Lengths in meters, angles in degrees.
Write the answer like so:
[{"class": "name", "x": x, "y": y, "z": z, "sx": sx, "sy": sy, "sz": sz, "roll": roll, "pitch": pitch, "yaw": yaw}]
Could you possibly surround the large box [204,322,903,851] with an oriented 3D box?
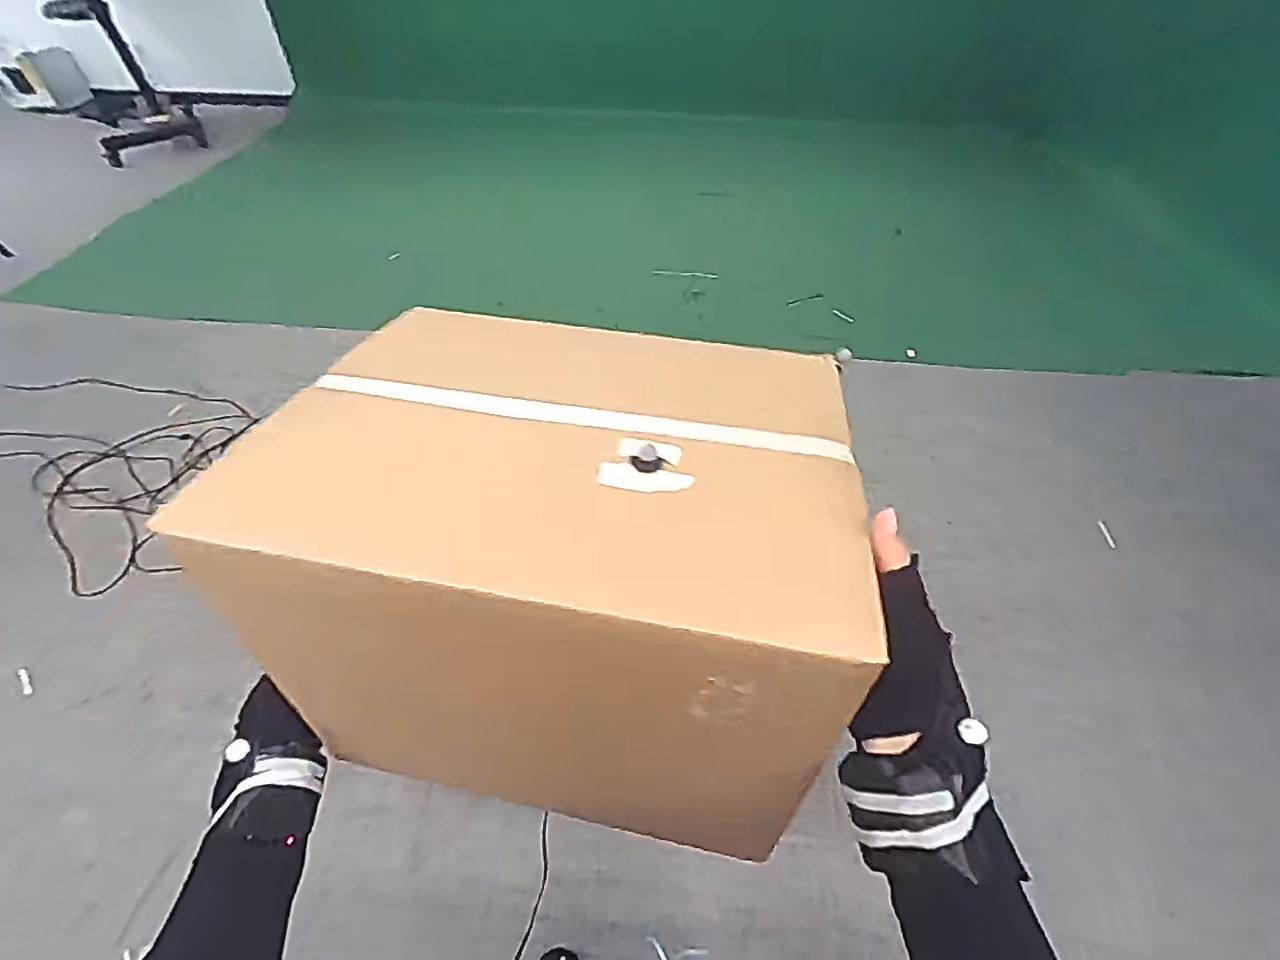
[{"class": "large box", "x": -0.044, "y": 0.081, "z": 0.500, "sx": 0.408, "sy": 0.320, "sz": 0.320, "roll": 10, "pitch": 41, "yaw": 6}]
